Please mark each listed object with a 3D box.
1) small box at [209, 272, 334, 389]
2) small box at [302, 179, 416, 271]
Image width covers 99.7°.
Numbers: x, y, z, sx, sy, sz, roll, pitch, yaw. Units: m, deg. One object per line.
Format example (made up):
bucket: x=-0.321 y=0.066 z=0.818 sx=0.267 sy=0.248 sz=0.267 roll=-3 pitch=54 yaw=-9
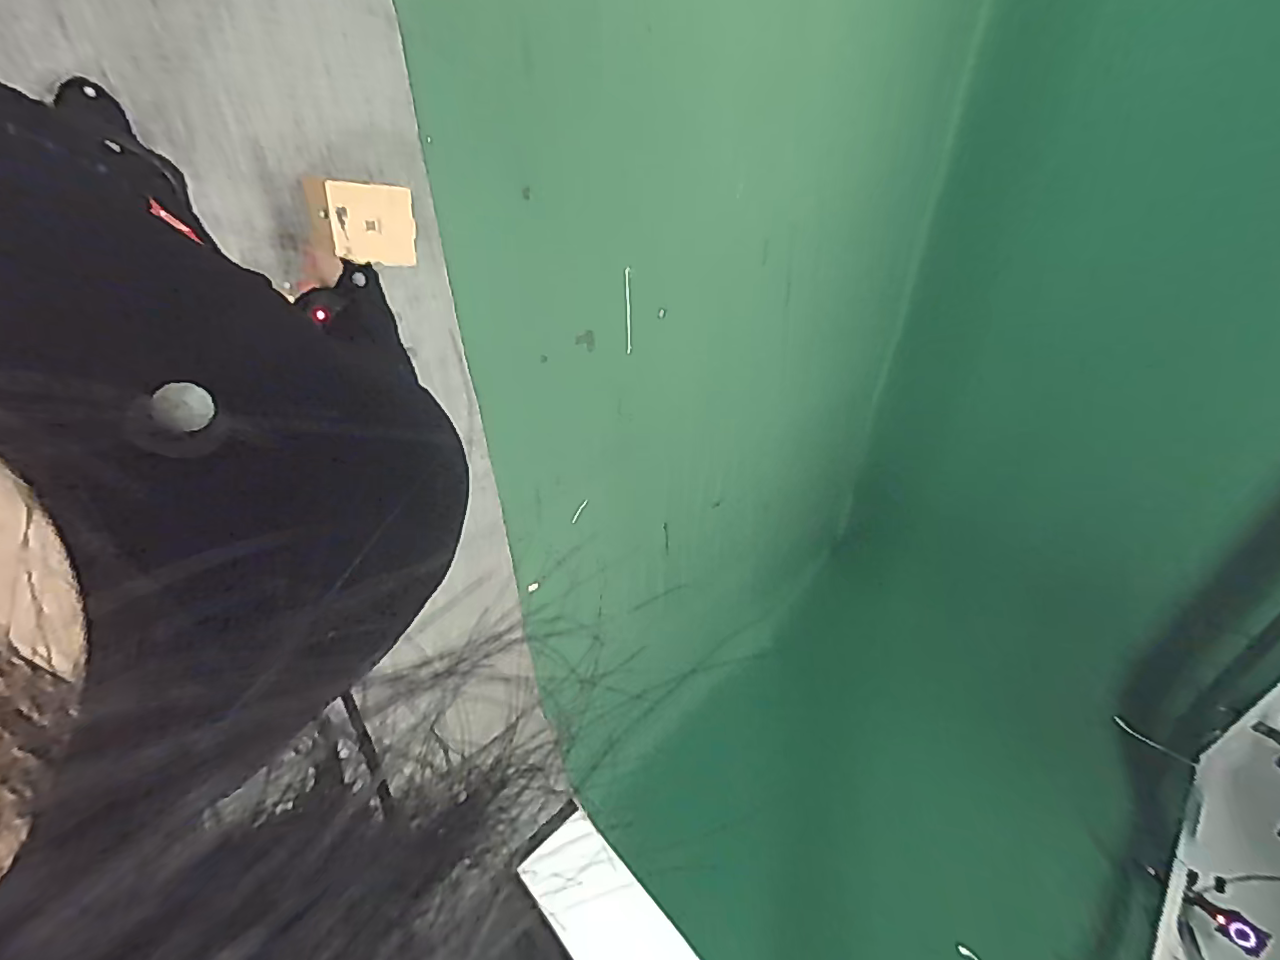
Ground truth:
small box: x=-0.813 y=-0.329 z=1.187 sx=0.168 sy=0.176 sz=0.179 roll=19 pitch=99 yaw=-52
small box: x=-0.632 y=-0.575 z=1.223 sx=0.179 sy=0.176 sz=0.168 roll=-19 pitch=128 yaw=-40
